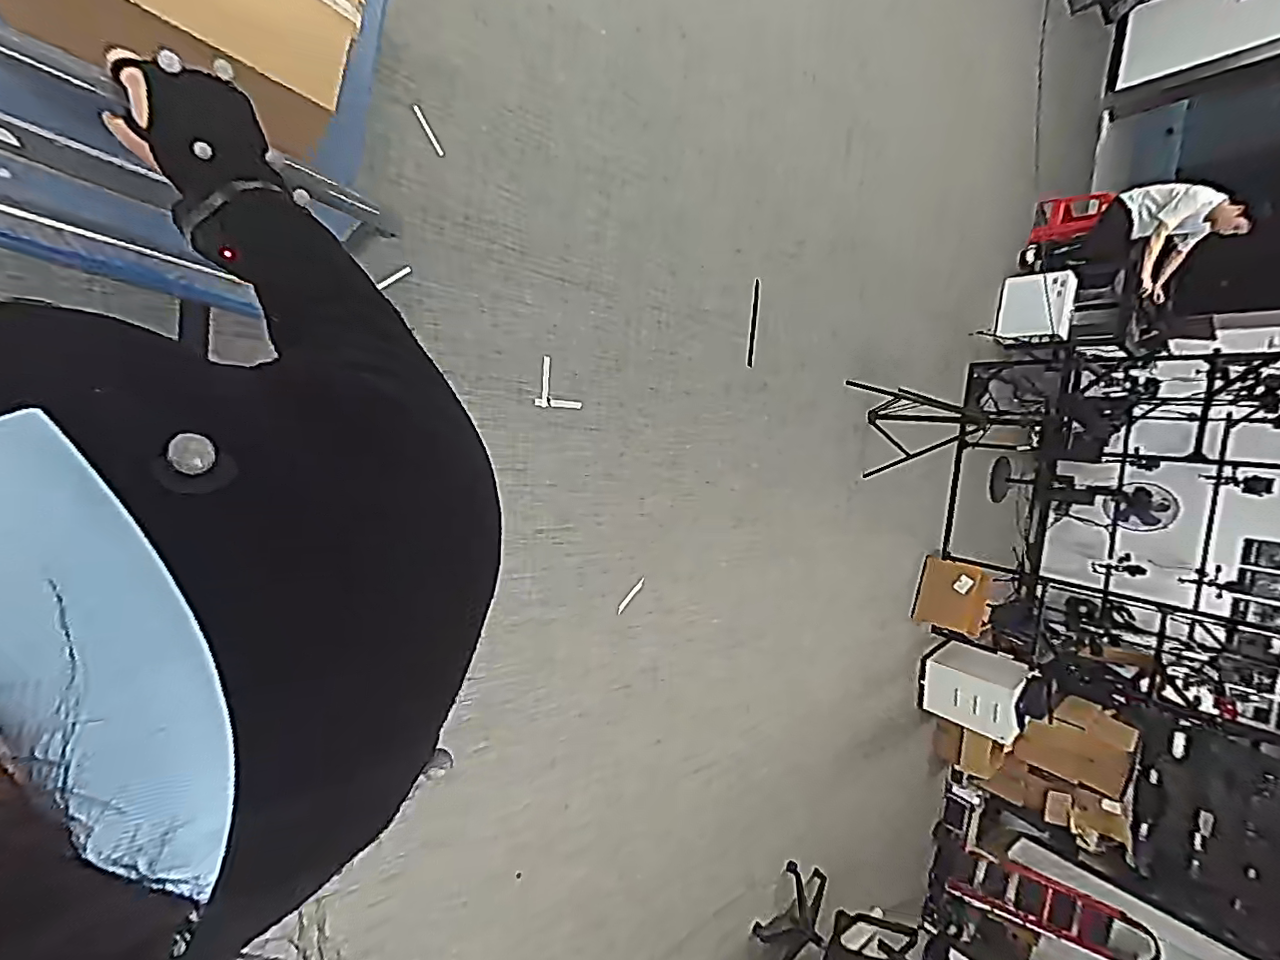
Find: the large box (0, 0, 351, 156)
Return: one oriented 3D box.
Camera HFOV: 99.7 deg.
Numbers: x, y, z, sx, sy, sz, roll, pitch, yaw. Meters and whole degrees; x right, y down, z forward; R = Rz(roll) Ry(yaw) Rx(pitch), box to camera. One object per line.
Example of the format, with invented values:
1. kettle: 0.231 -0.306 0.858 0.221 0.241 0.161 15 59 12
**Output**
1. large box: -0.695 -0.793 0.835 0.408 0.320 0.320 13 89 -40
